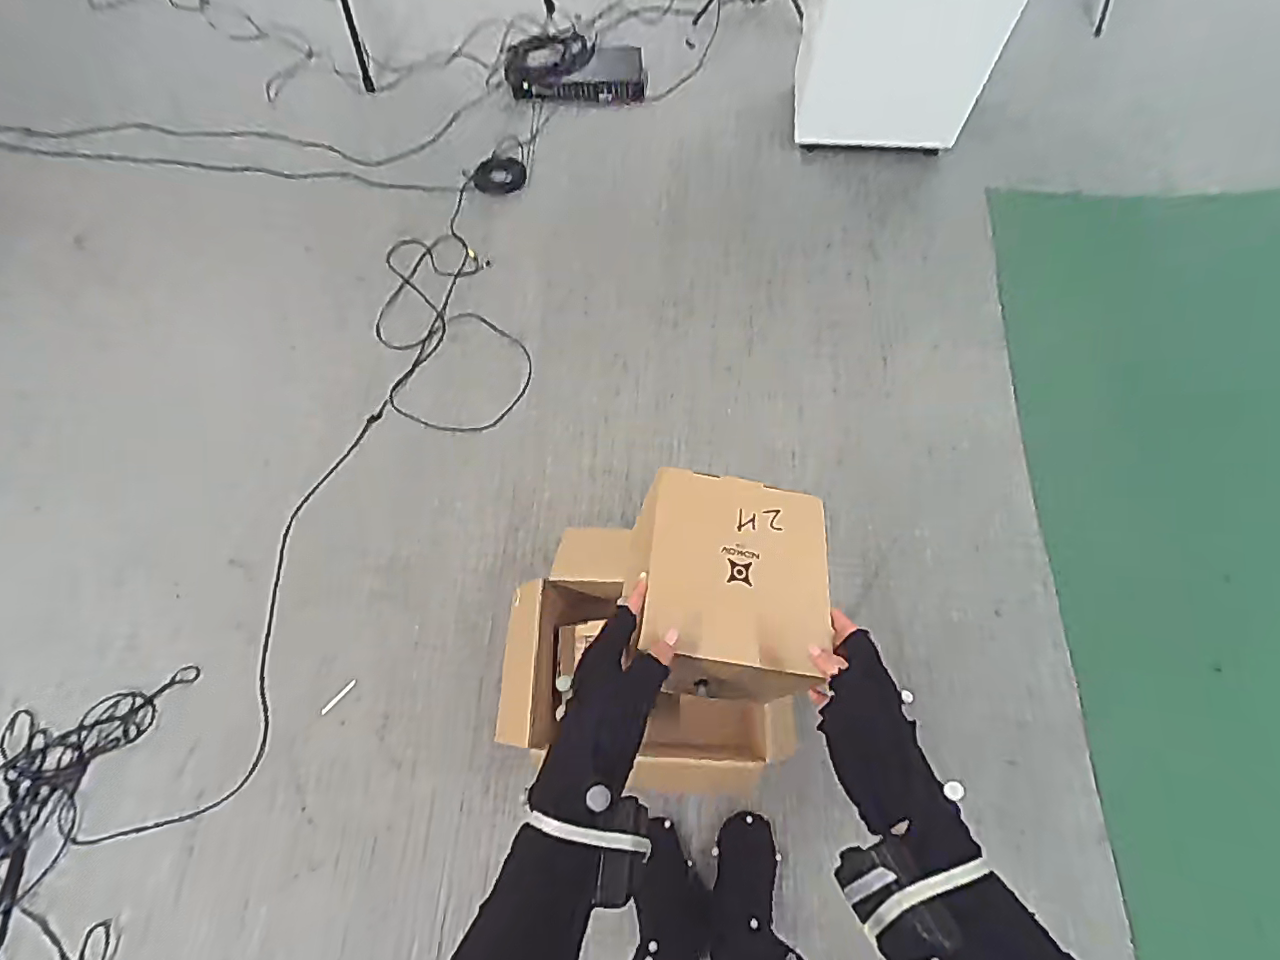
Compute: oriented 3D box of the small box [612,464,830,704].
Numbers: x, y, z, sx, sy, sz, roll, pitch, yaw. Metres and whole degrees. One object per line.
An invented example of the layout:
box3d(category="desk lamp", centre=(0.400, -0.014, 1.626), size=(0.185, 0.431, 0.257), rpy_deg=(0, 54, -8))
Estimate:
box3d(category="small box", centre=(0.071, 0.113, 0.538), size=(0.168, 0.176, 0.179), rpy_deg=(12, 58, -6))
